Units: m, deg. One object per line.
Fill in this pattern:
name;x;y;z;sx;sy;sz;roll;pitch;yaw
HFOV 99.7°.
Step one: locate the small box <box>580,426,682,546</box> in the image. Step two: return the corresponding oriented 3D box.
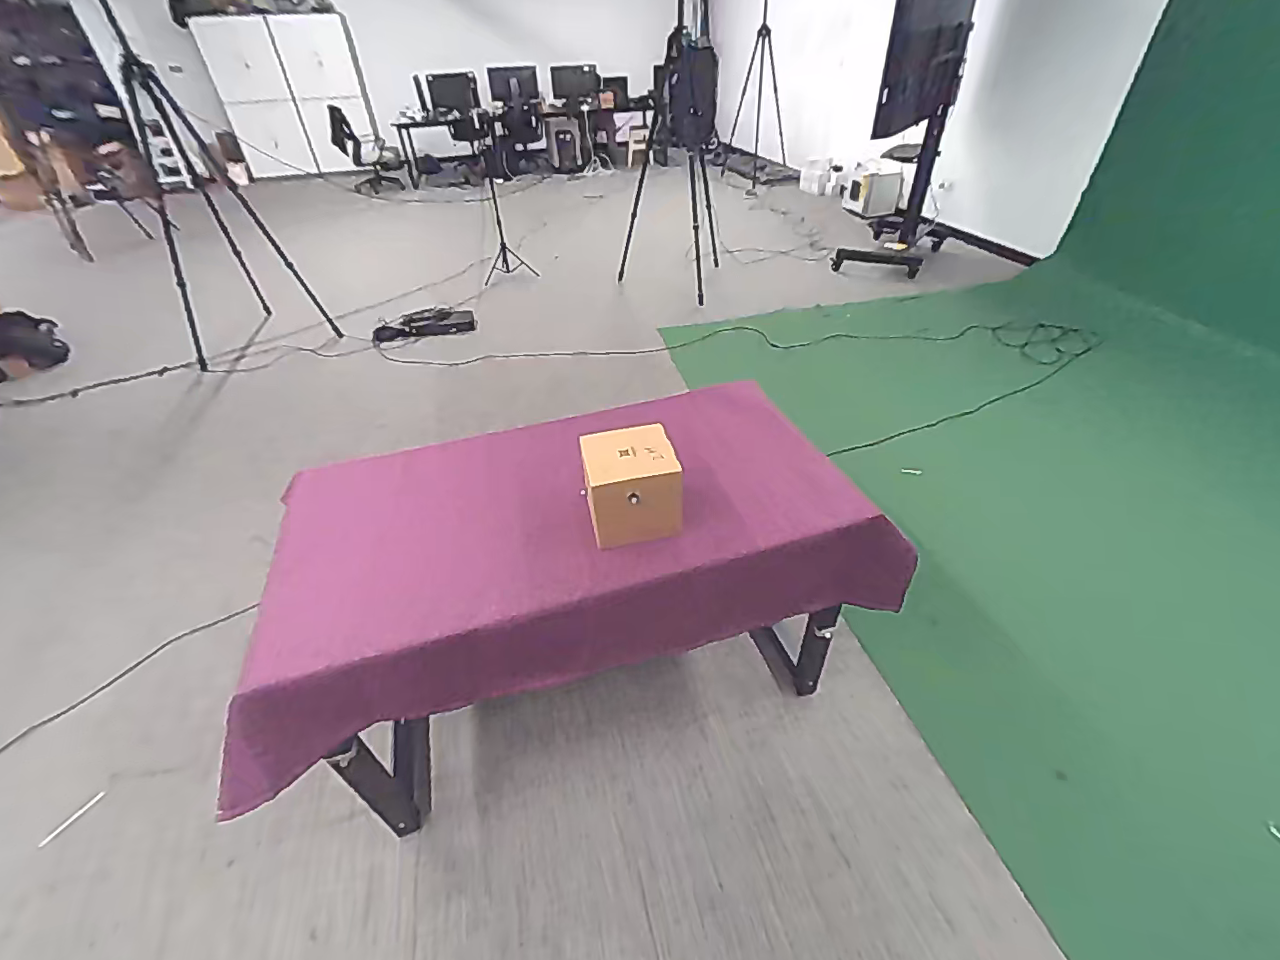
small box;-0.016;0.015;1.094;0.179;0.176;0.168;-10;40;-7
